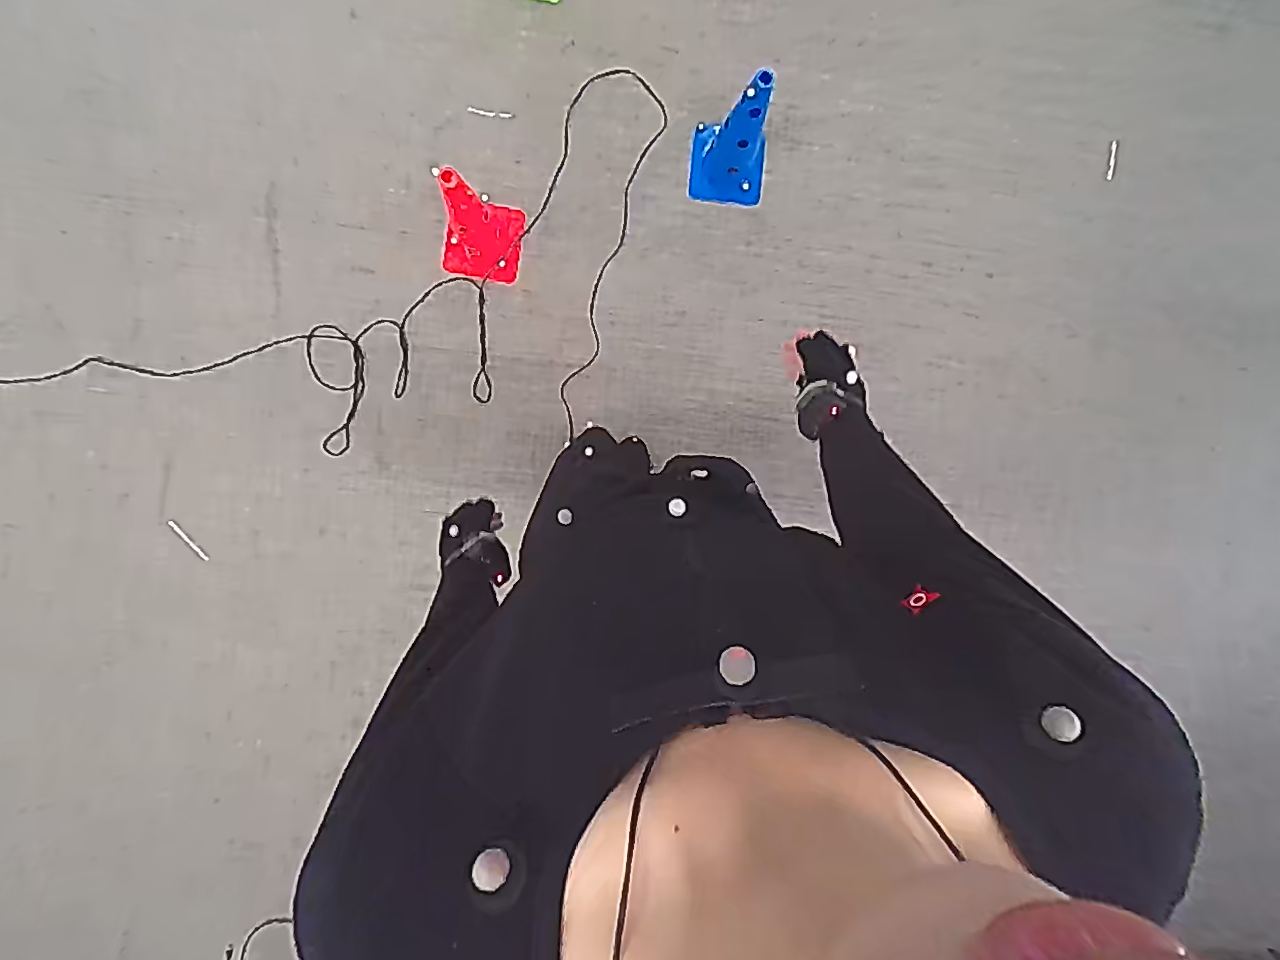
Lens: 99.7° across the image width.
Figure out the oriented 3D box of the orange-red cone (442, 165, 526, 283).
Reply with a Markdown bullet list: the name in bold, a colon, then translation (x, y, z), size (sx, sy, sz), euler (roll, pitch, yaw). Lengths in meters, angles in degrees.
- **orange-red cone**: translation (-0.398, -0.629, 1.264), size (0.198, 0.360, 0.199), euler (10, 92, -5)
